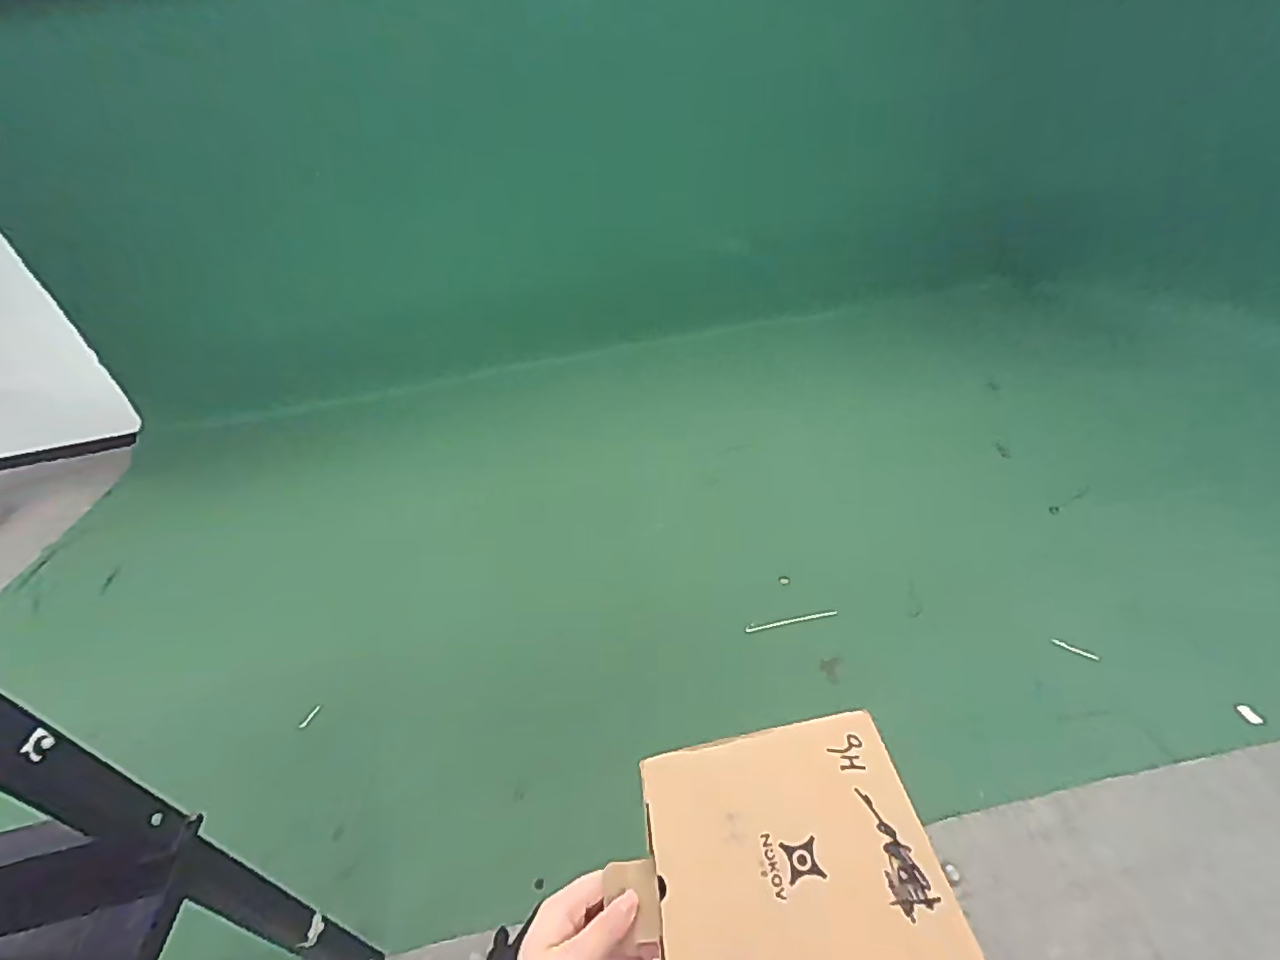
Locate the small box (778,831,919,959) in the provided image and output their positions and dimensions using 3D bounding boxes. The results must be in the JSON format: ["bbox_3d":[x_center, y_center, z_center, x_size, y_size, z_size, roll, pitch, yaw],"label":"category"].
[{"bbox_3d":[0.373,0.804,0.997,0.179,0.176,0.168,-23,41,-19],"label":"small box"}]
